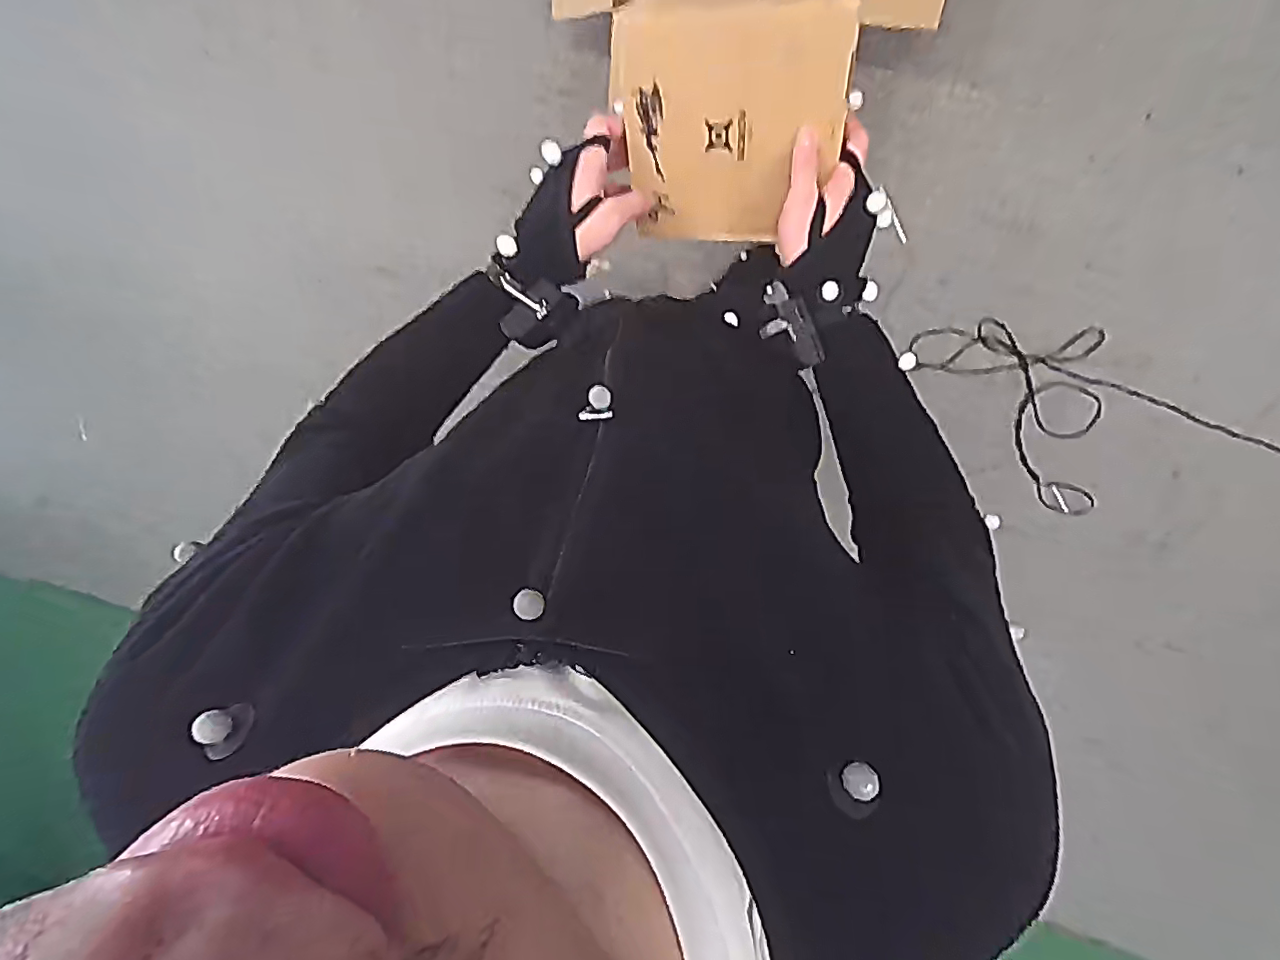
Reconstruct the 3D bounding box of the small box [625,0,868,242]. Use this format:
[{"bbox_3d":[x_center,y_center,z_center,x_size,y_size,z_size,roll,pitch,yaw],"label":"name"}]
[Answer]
[{"bbox_3d":[0.096,-0.337,0.494,0.179,0.176,0.168,6,139,13],"label":"small box"}]
